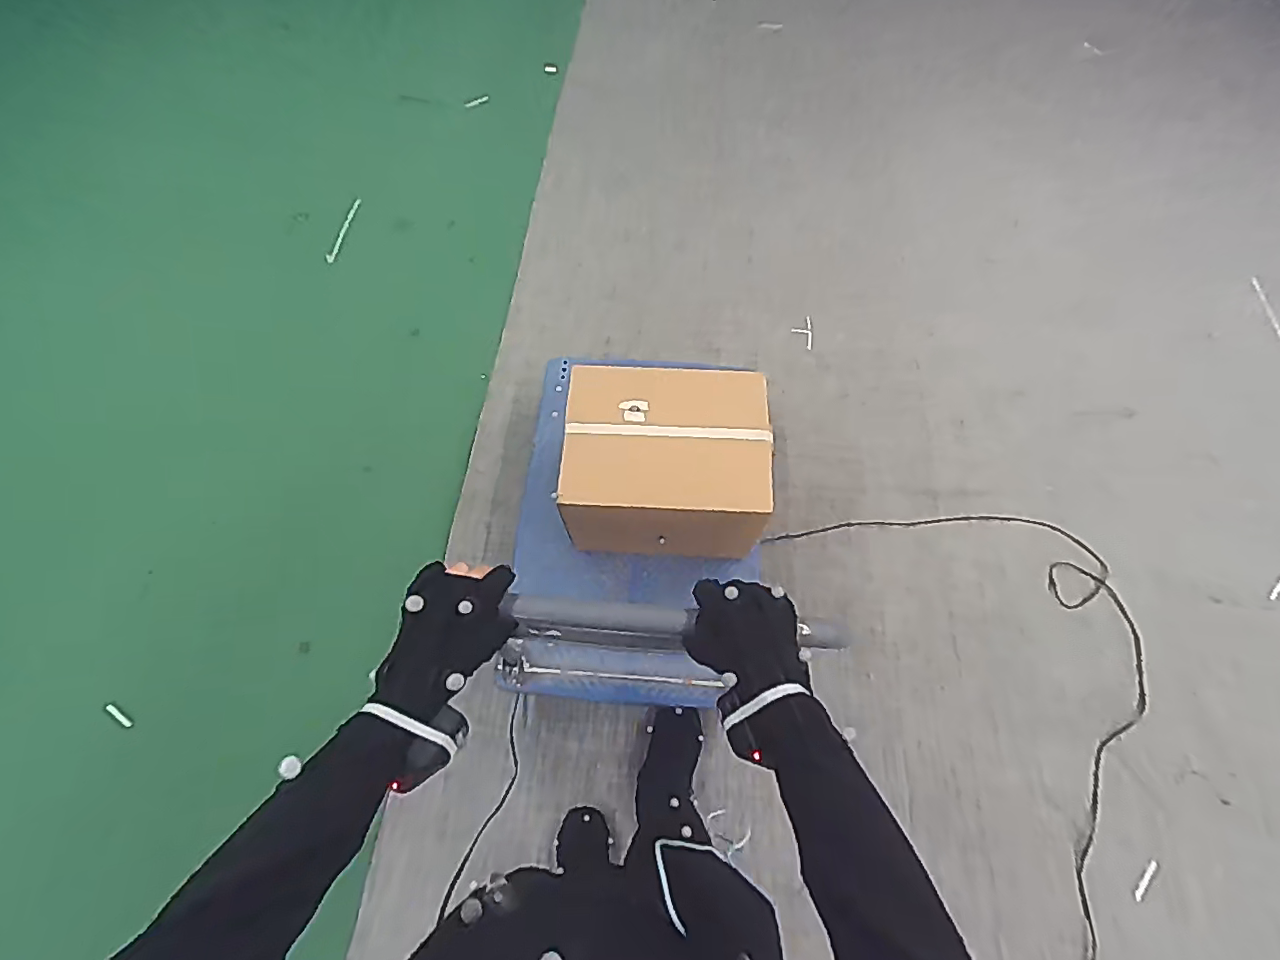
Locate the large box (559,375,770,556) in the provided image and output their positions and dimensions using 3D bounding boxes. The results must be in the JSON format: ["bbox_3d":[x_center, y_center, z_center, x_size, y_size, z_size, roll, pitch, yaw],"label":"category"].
[{"bbox_3d":[0.056,-0.020,1.210,0.408,0.320,0.320,2,65,3],"label":"large box"}]
